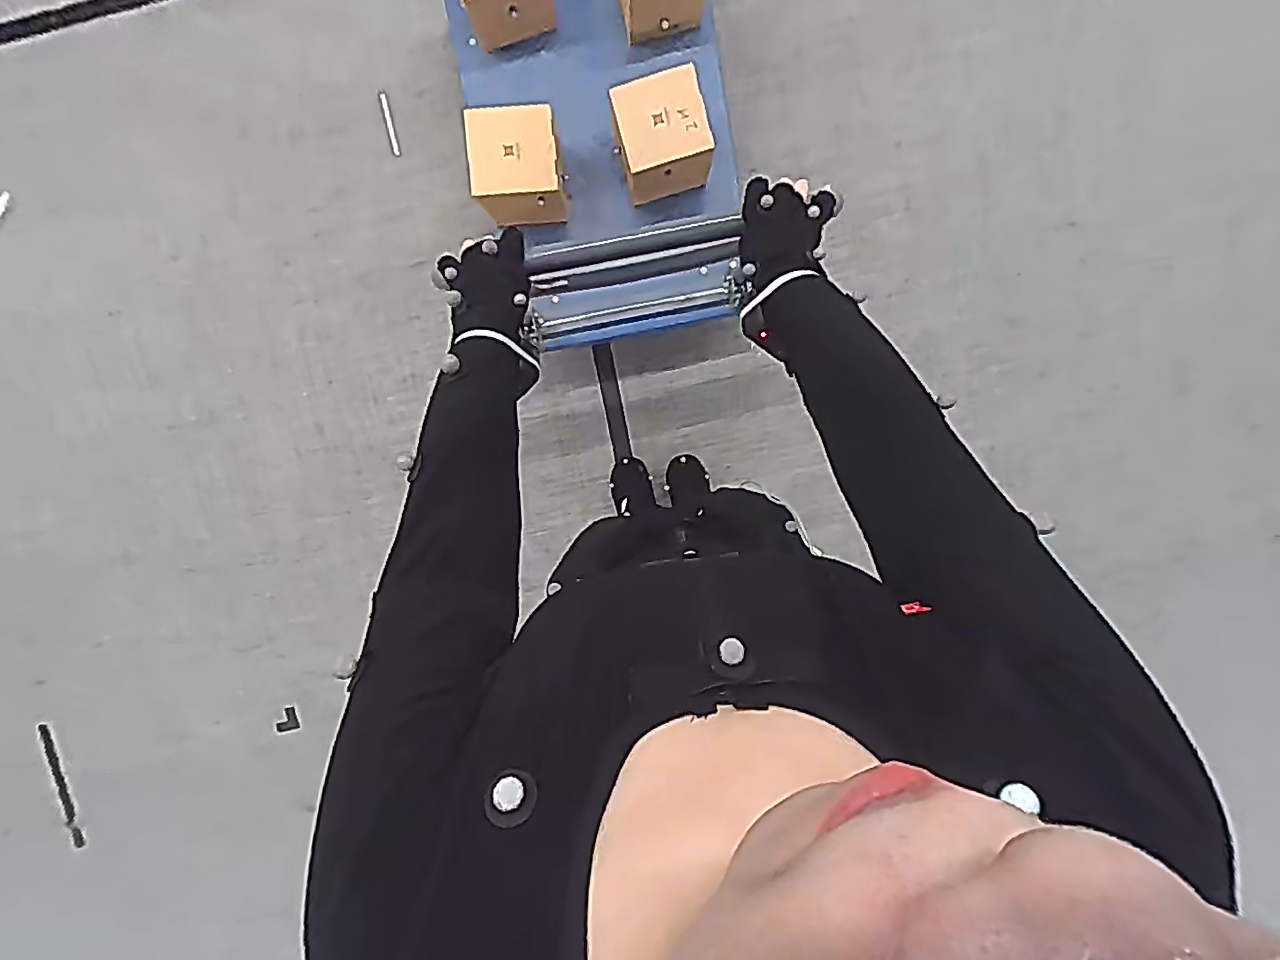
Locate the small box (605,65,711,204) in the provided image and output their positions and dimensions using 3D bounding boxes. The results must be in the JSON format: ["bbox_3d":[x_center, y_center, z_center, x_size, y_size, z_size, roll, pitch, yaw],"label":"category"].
[{"bbox_3d":[0.038,-0.711,1.136,0.179,0.176,0.168,-16,96,2],"label":"small box"}]

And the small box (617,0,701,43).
[{"bbox_3d":[0.029,-1.049,1.097,0.168,0.176,0.179,-14,97,2],"label":"small box"}]

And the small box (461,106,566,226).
[{"bbox_3d":[-0.260,-0.654,1.146,0.179,0.176,0.168,-5,96,0],"label":"small box"}]
